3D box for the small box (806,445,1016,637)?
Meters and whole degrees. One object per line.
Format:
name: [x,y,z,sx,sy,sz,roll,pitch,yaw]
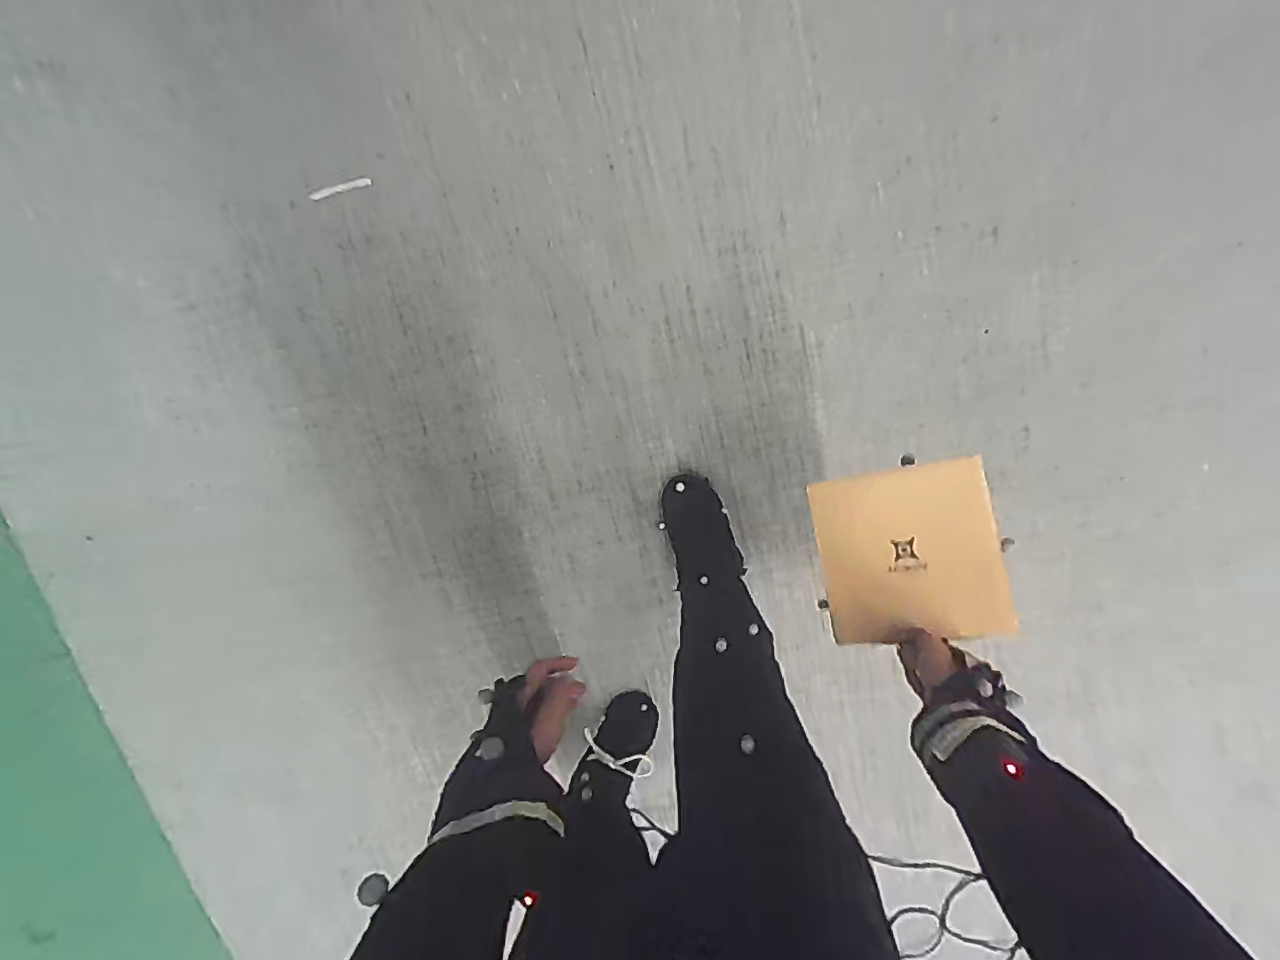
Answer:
small box: [0.294,0.065,0.608,0.168,0.176,0.179,-12,86,25]
